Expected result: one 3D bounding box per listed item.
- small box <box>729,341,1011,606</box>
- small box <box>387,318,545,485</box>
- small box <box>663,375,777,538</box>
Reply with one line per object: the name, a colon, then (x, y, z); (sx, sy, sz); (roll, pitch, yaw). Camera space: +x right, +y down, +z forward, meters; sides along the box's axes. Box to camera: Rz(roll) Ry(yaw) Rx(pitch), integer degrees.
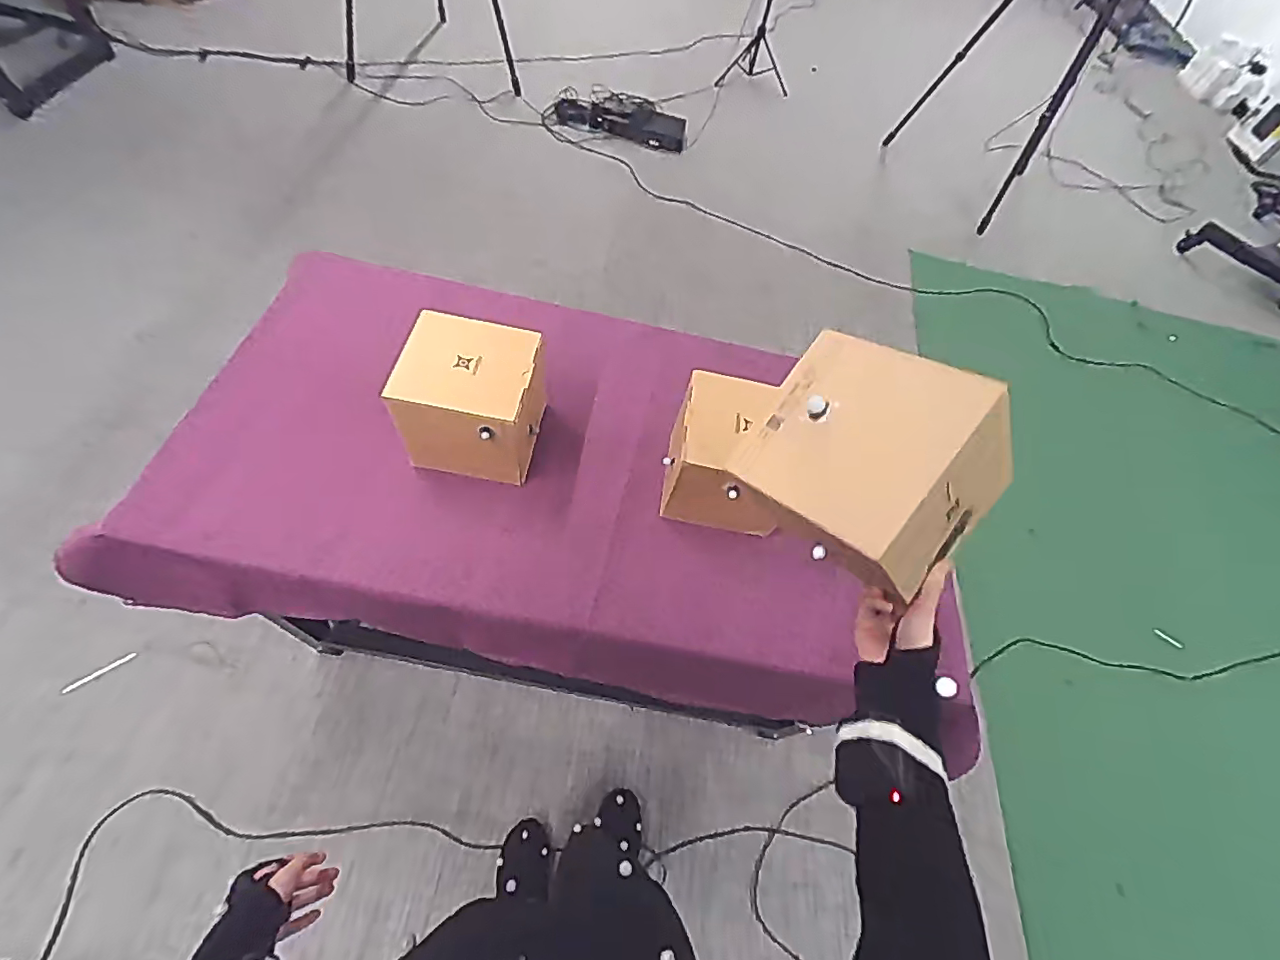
small box: (0.220, -0.010, 0.521); (0.176, 0.179, 0.168); (34, 88, 44)
small box: (-0.245, -0.110, 0.809); (0.179, 0.176, 0.168); (11, 58, -4)
small box: (0.139, -0.029, 0.821); (0.179, 0.176, 0.168); (12, 59, -2)
